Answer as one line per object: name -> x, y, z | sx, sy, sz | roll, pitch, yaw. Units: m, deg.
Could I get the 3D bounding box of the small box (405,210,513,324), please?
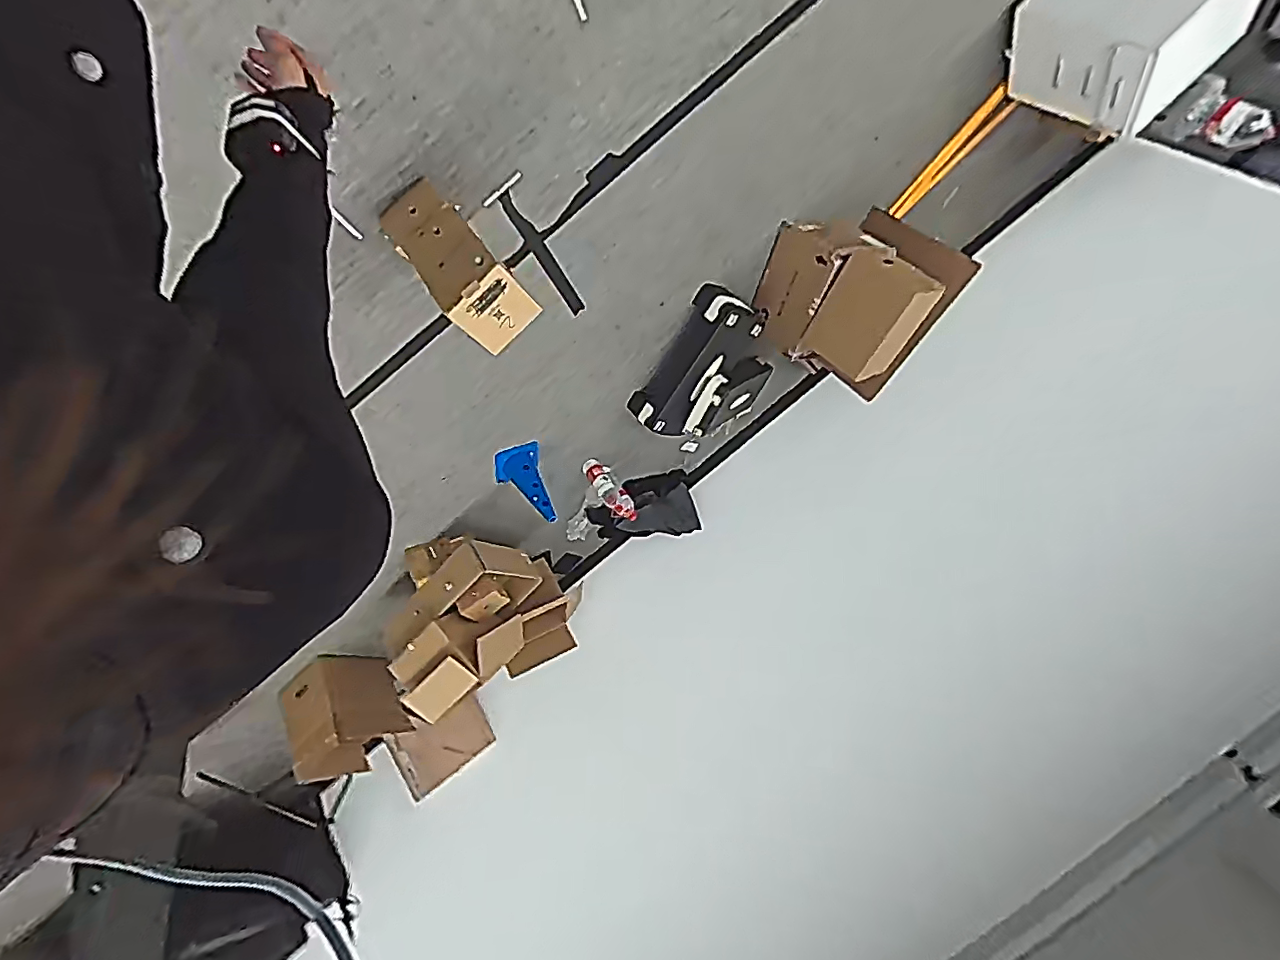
small box -> -0.460, -0.544, 1.378 | 0.168, 0.176, 0.179 | -37, 149, 1

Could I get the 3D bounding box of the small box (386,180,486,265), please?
small box -> -0.552, -0.658, 1.450 | 0.179, 0.176, 0.168 | -41, 149, 4
